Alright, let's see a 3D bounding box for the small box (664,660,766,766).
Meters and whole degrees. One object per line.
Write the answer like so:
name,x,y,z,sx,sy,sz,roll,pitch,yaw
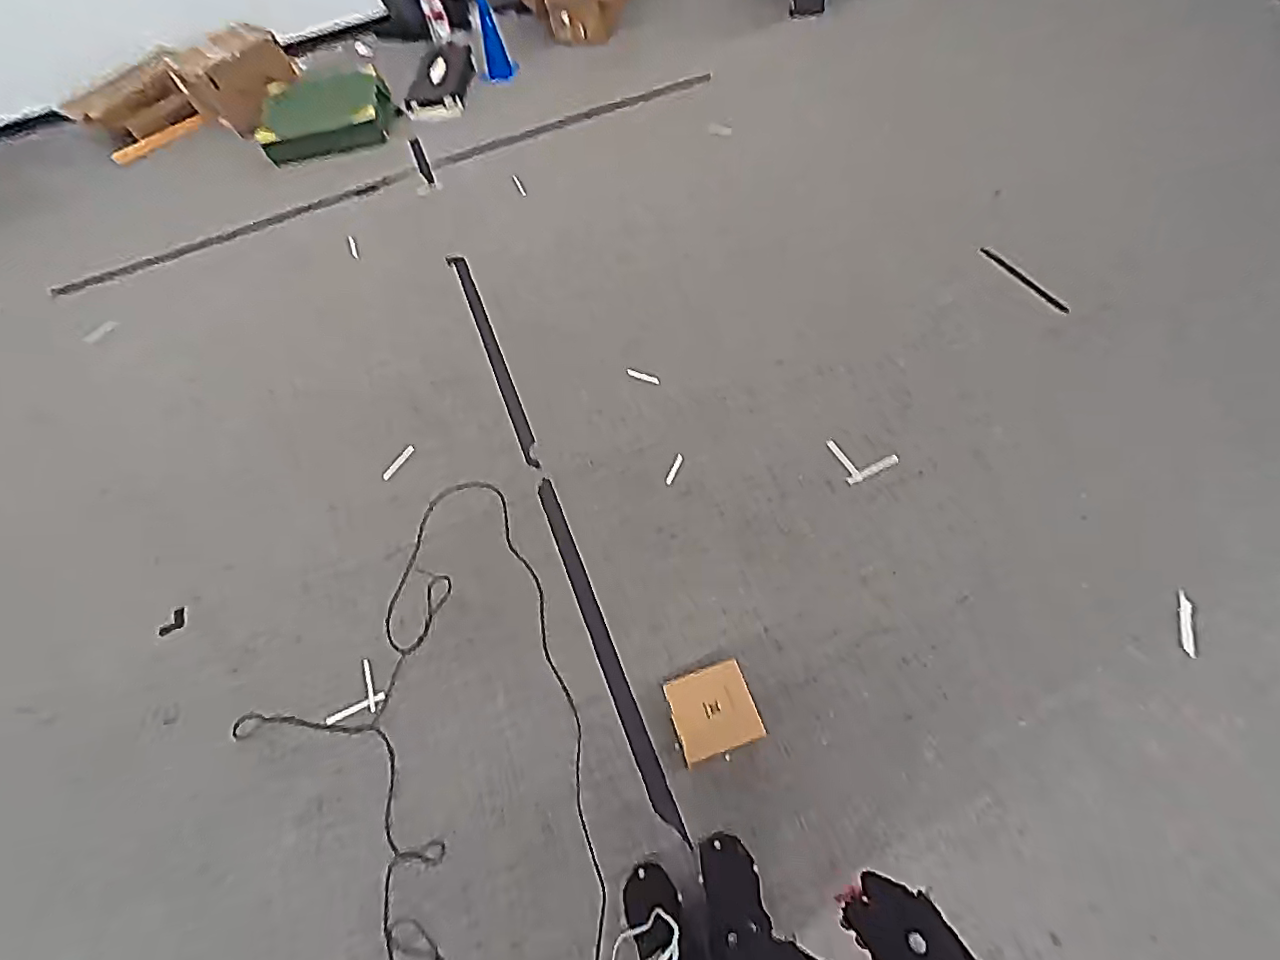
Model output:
small box,0.167,0.532,1.222,0.179,0.176,0.168,-18,59,-5
